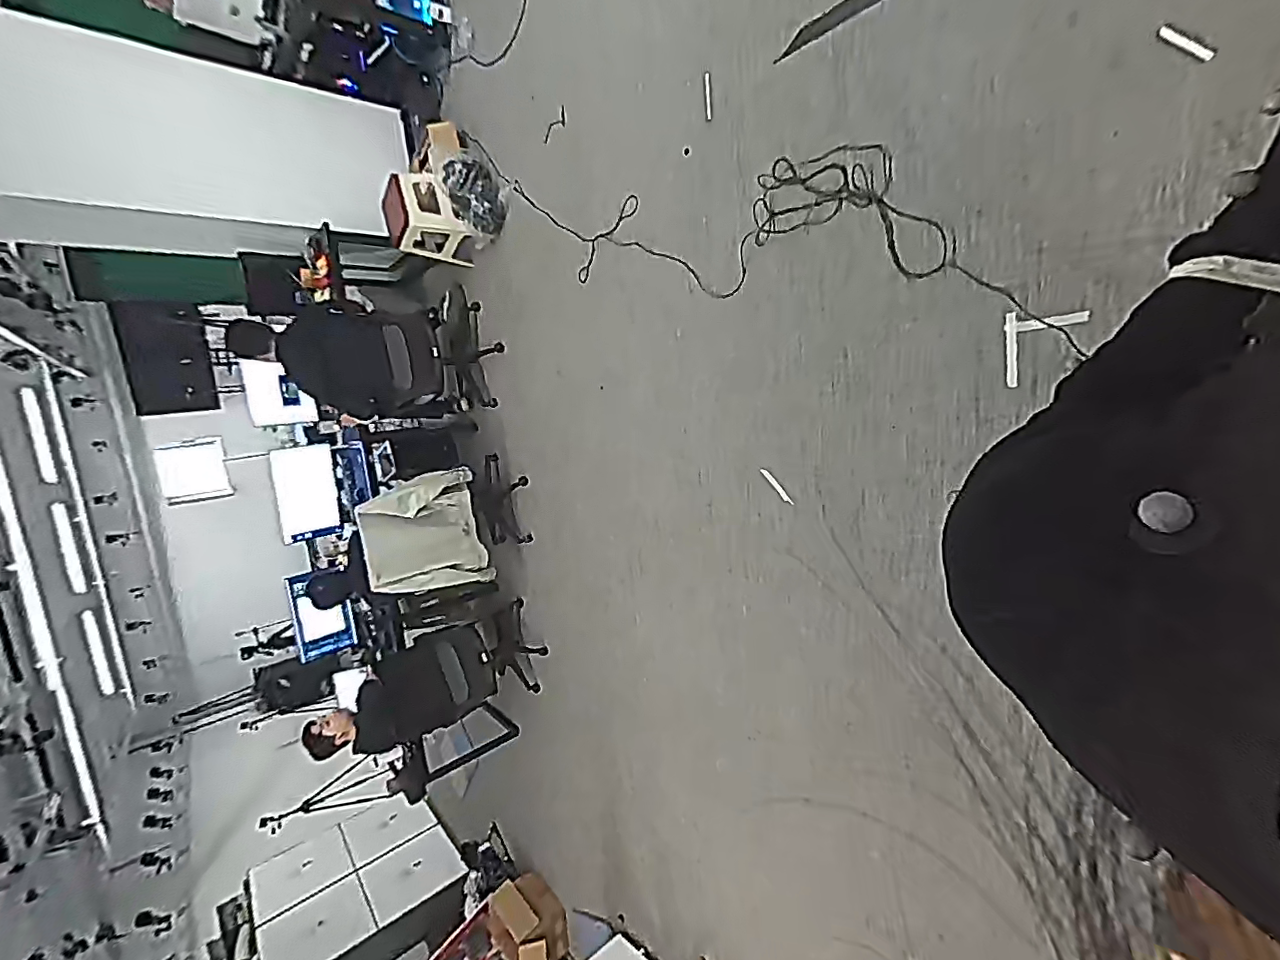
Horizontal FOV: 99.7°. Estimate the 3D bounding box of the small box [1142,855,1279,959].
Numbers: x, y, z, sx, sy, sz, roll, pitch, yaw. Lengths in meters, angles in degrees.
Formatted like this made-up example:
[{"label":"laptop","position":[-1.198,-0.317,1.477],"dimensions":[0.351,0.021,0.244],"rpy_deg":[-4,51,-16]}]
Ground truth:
[{"label":"small box","position":[0.679,0.582,0.602],"dimensions":[0.168,0.176,0.179],"rpy_deg":[4,103,48]}]
